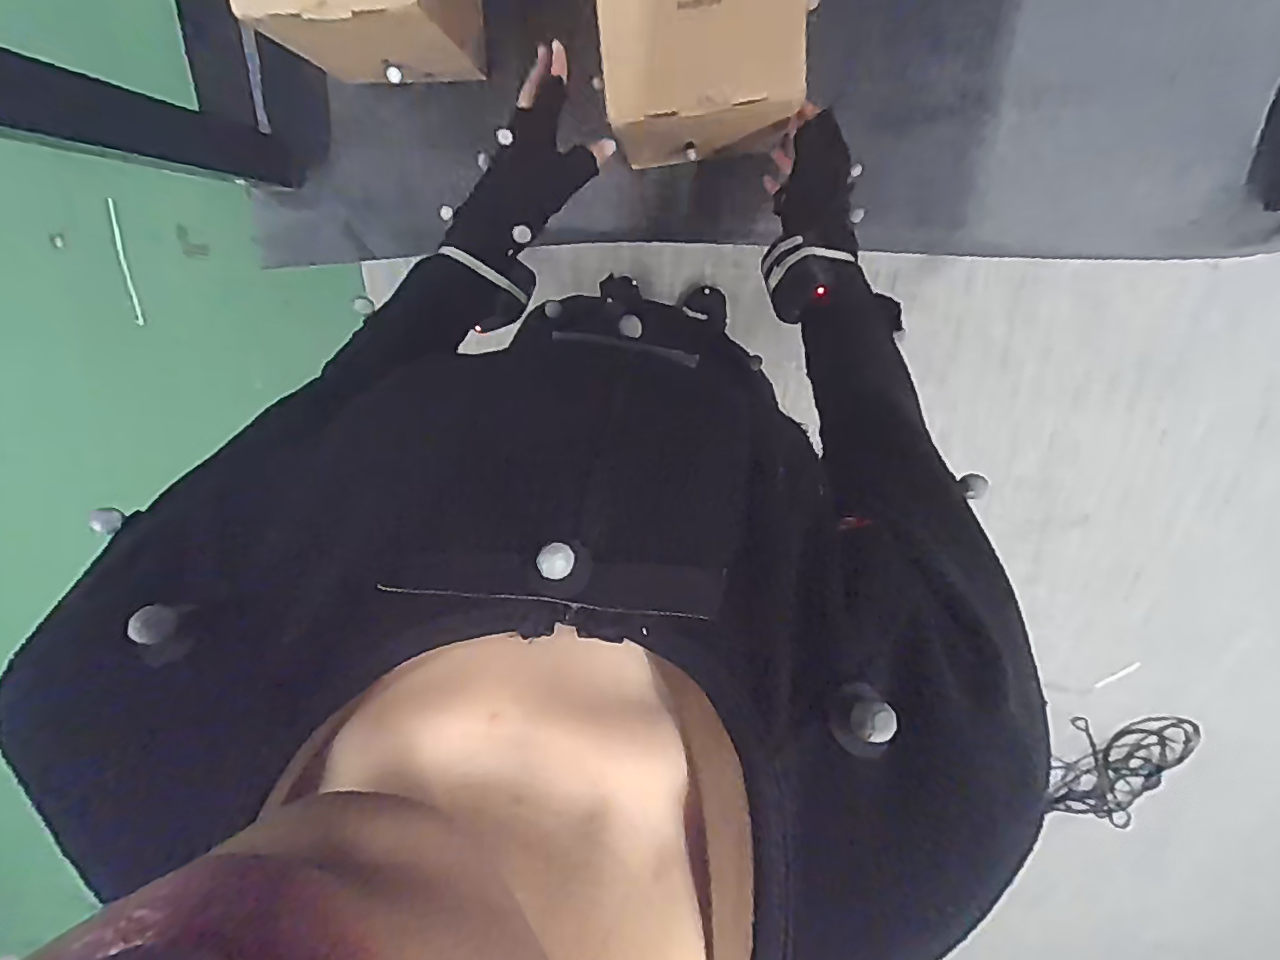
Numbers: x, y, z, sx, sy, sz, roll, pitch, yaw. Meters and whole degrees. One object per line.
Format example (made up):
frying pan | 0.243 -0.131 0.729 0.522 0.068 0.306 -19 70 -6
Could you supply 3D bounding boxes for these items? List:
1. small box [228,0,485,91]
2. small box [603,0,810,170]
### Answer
small box | -0.255 -0.491 0.498 0.168 0.176 0.179 2 110 5
small box | 0.055 -0.411 0.500 0.168 0.176 0.179 -5 109 6
